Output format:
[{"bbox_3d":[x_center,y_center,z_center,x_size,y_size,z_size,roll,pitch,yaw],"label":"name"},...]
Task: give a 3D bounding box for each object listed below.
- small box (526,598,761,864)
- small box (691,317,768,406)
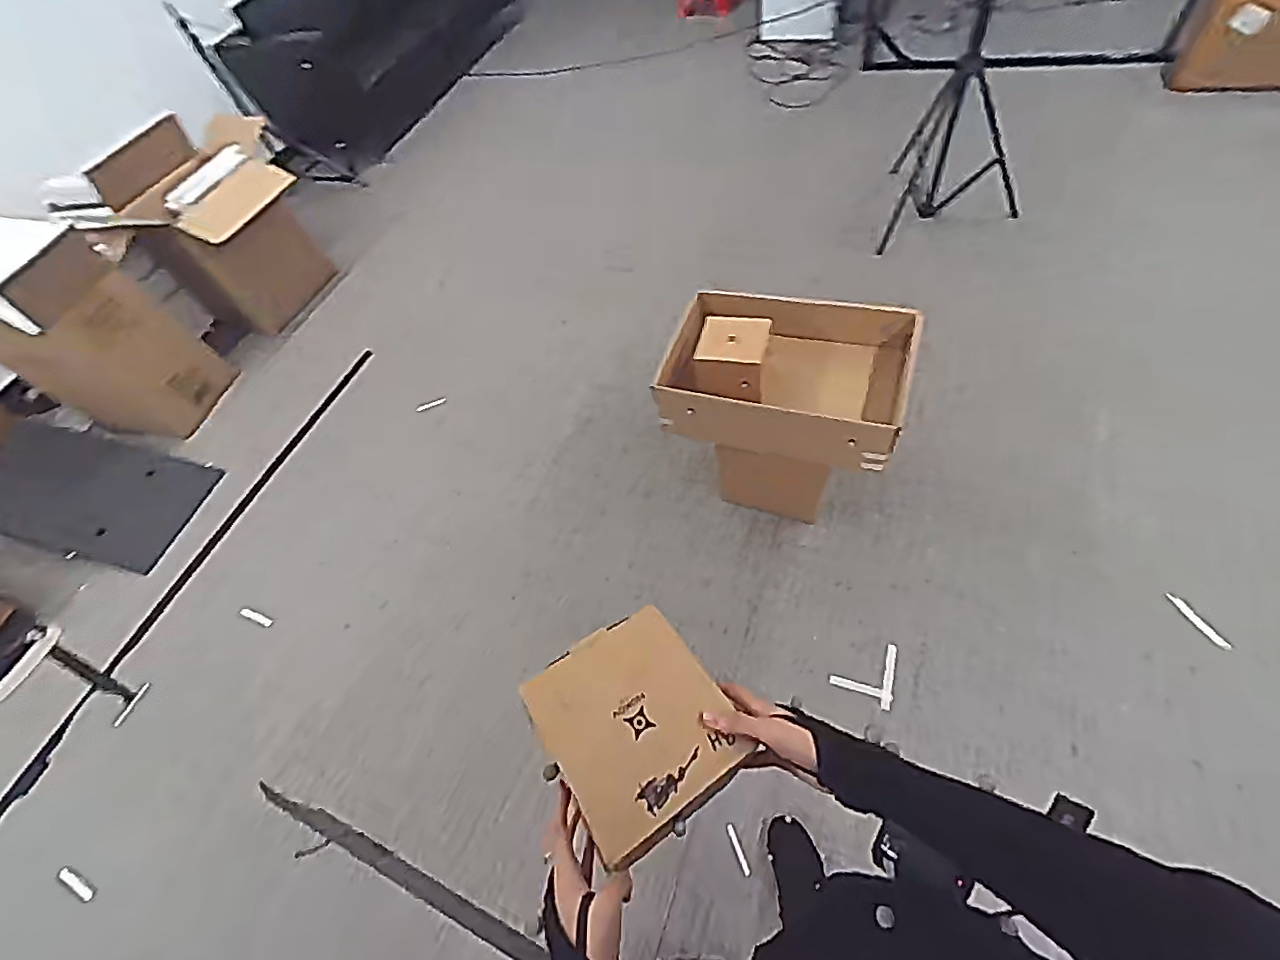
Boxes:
[{"bbox_3d":[-0.005,0.266,0.573,0.168,0.176,0.179,-25,56,-23],"label":"small box"},{"bbox_3d":[0.250,-0.322,1.483,0.179,0.176,0.168,8,59,18],"label":"small box"}]
